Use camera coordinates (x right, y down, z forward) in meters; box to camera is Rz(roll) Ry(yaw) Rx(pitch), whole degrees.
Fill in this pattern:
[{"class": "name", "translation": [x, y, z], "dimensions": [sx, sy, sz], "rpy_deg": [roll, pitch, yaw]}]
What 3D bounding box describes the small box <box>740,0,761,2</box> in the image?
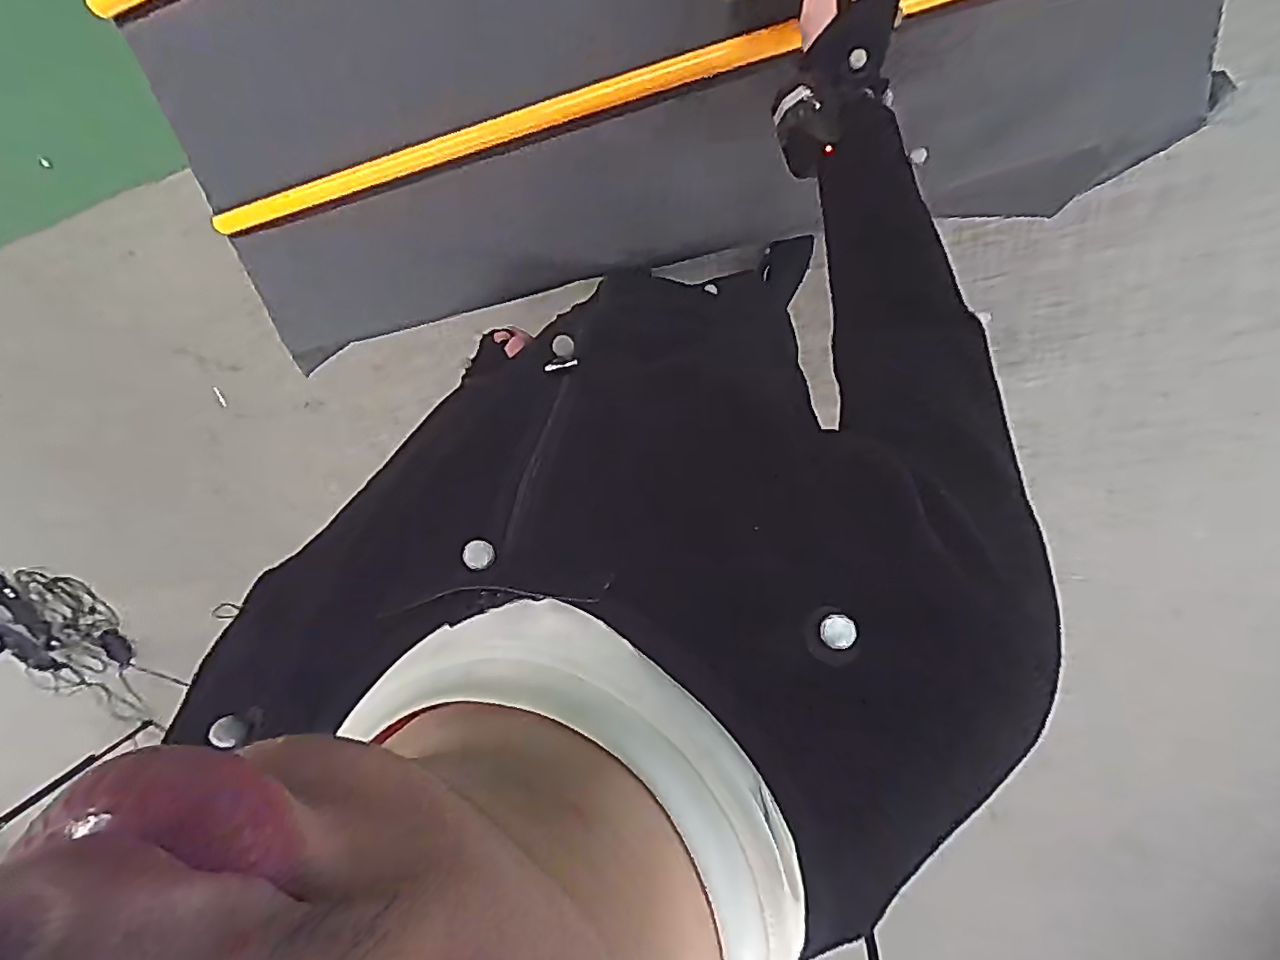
[{"class": "small box", "translation": [0.140, -0.551, 0.461], "dimensions": [0.168, 0.176, 0.179], "rpy_deg": [-10, 118, 17]}]
